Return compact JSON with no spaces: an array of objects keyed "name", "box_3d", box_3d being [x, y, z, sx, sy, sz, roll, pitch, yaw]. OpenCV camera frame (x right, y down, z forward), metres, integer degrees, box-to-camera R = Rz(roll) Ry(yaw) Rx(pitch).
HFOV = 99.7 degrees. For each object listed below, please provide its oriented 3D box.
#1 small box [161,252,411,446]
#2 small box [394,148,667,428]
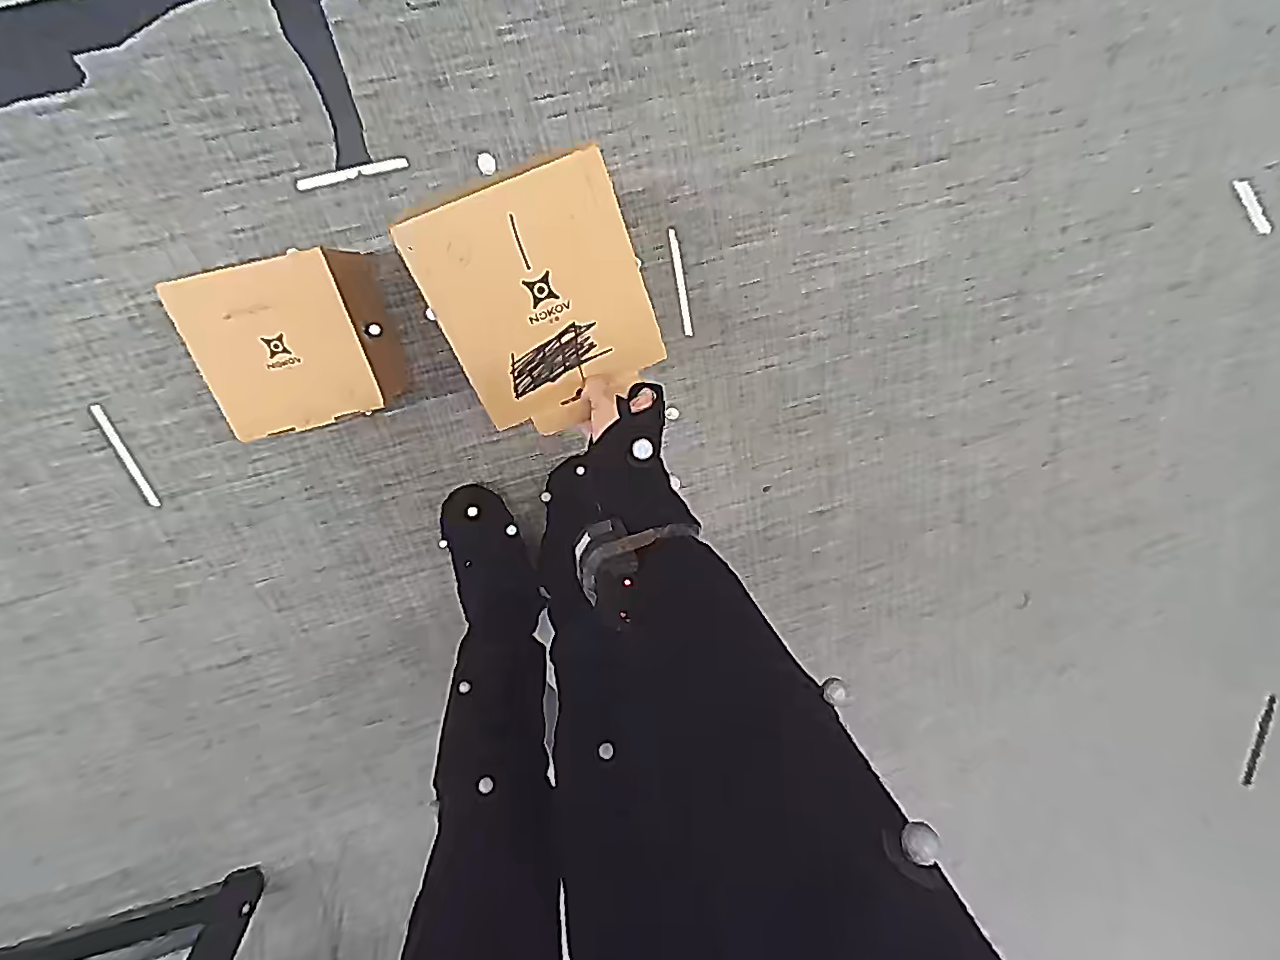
[{"name":"small box","box_3d":[-0.396,-0.164,0.649,0.168,0.176,0.179,-17,112,-7]},{"name":"small box","box_3d":[-0.095,-0.181,0.495,0.168,0.176,0.179,-25,124,-4]}]
